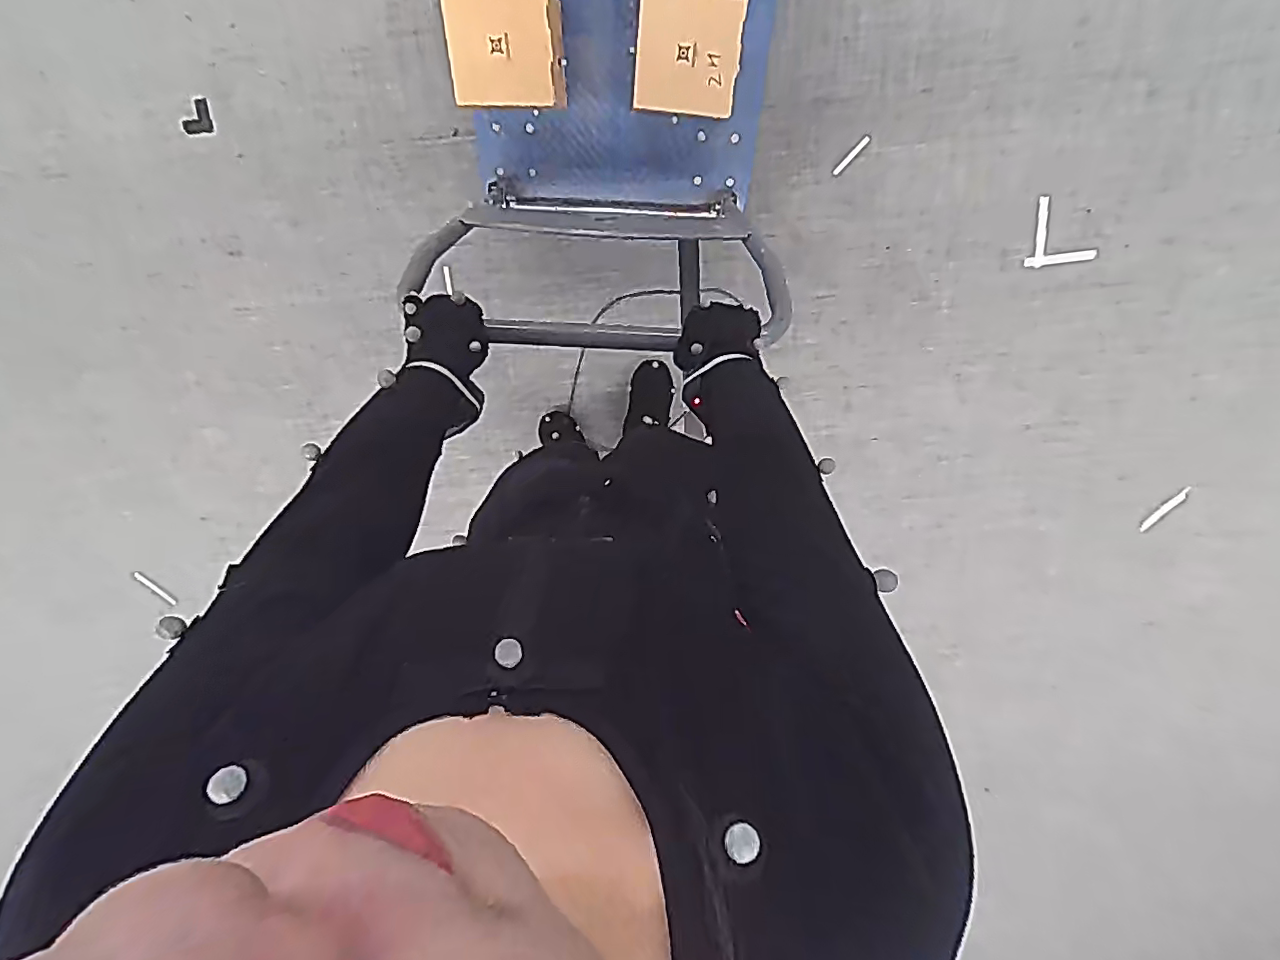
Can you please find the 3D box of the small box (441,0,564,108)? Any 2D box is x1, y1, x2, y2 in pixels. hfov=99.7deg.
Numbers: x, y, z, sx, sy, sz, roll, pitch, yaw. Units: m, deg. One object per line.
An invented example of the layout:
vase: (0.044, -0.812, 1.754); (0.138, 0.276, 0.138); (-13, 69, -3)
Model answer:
small box: (-0.235, -0.769, 0.965); (0.179, 0.176, 0.168); (-1, 123, -1)

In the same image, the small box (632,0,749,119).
small box: (0.082, -0.757, 0.970); (0.179, 0.176, 0.168); (5, 123, -3)
